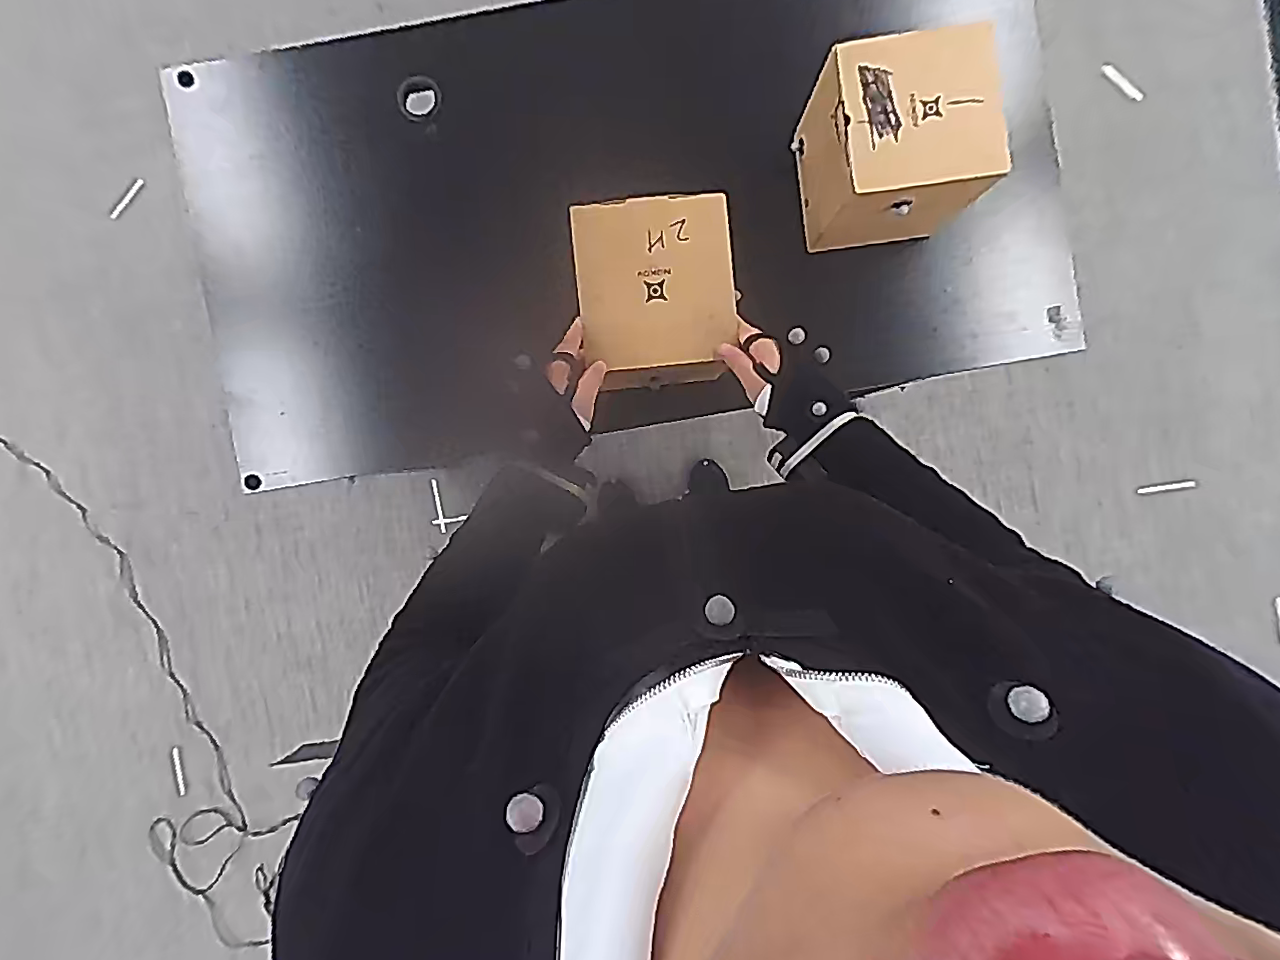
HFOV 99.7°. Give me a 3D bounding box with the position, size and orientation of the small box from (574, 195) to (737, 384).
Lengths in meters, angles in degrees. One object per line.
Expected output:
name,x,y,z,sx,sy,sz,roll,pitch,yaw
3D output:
small box,0.016,-0.214,0.657,0.168,0.176,0.179,-6,93,-1

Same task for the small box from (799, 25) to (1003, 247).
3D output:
small box,0.309,-0.411,0.678,0.179,0.176,0.168,-7,92,1
